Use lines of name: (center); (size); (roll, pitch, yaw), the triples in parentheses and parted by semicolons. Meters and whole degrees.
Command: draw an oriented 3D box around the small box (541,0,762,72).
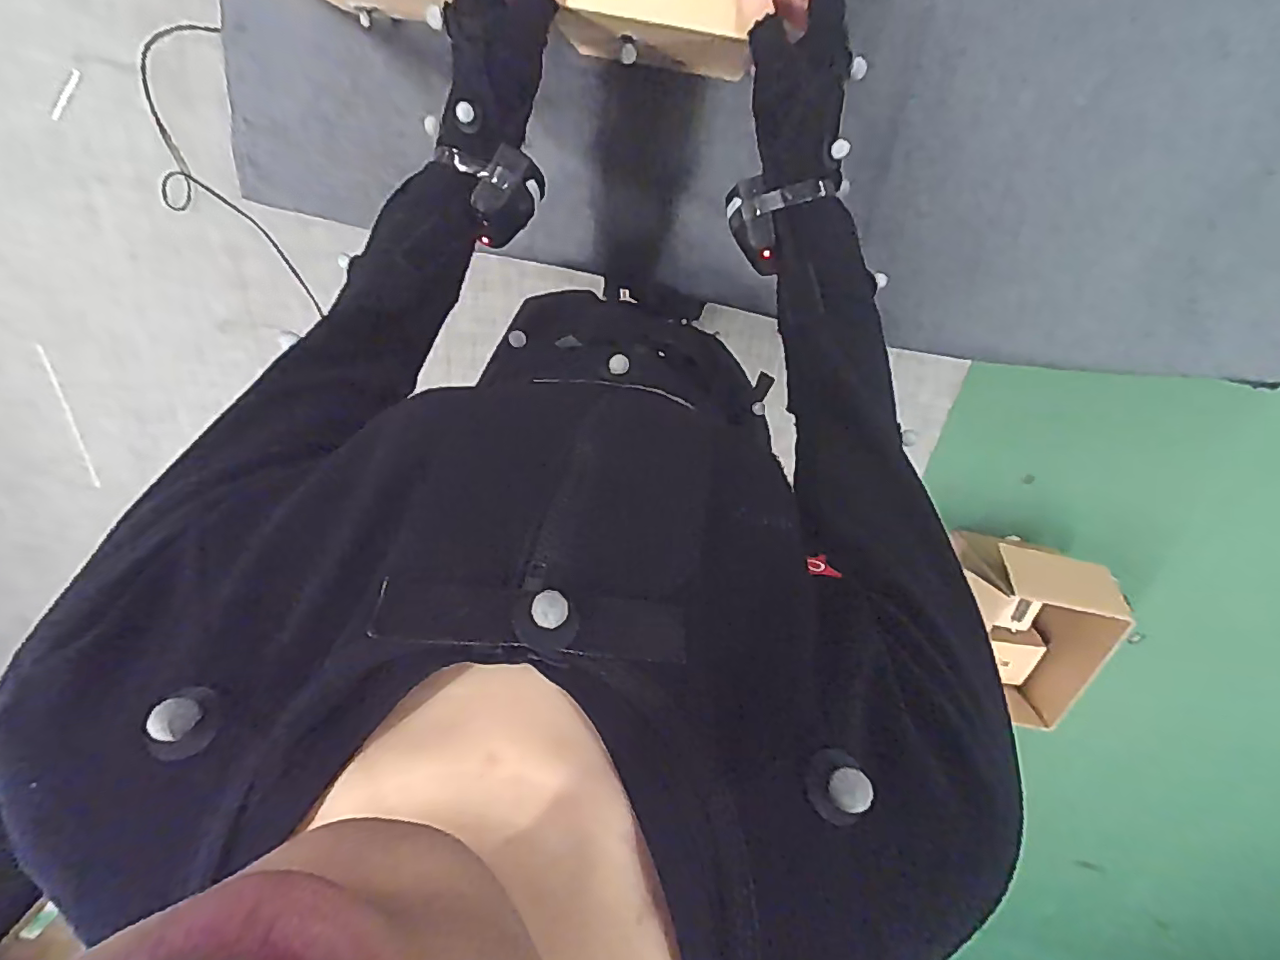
small box: (0.026, -0.447, 0.422); (0.168, 0.176, 0.179); (10, 118, 1)

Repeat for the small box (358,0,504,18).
small box: (-0.207, -0.492, 0.416); (0.168, 0.176, 0.179); (7, 117, 1)
